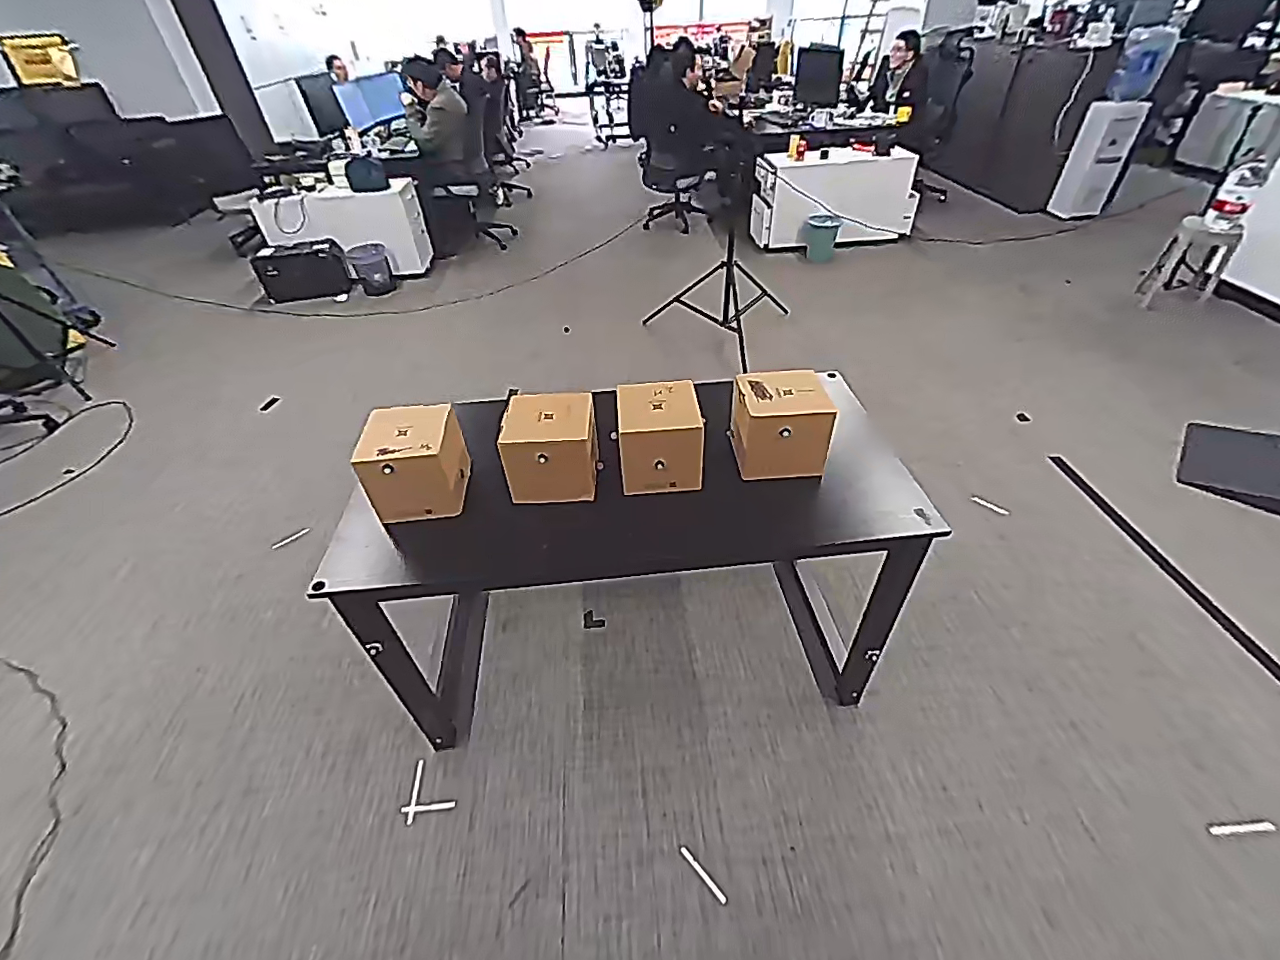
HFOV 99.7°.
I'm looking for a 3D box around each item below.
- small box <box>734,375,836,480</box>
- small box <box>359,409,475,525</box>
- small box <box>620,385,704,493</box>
[{"bbox_3d":[0.304,-0.113,1.180,0.179,0.176,0.168,-3,41,-1],"label":"small box"},{"bbox_3d":[-0.456,-0.029,1.139,0.168,0.176,0.179,-6,41,-2],"label":"small box"},{"bbox_3d":[0.046,-0.084,1.167,0.168,0.176,0.179,-4,41,-1],"label":"small box"}]
